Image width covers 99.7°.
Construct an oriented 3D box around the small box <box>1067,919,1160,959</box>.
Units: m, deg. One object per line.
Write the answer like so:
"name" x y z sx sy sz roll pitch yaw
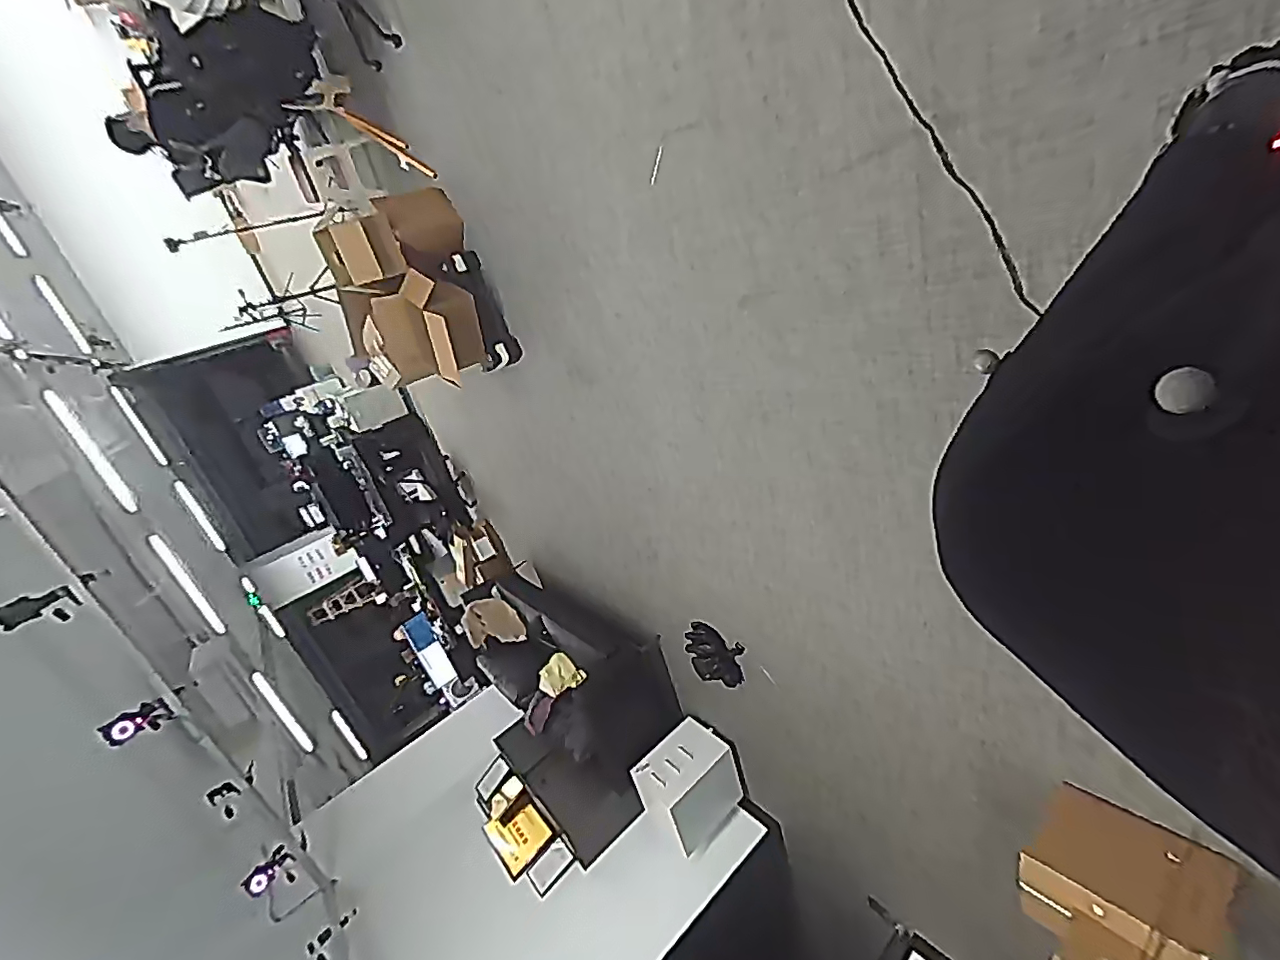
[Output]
"small box" 1.261 1.330 1.442 0.179 0.176 0.168 21 129 48
